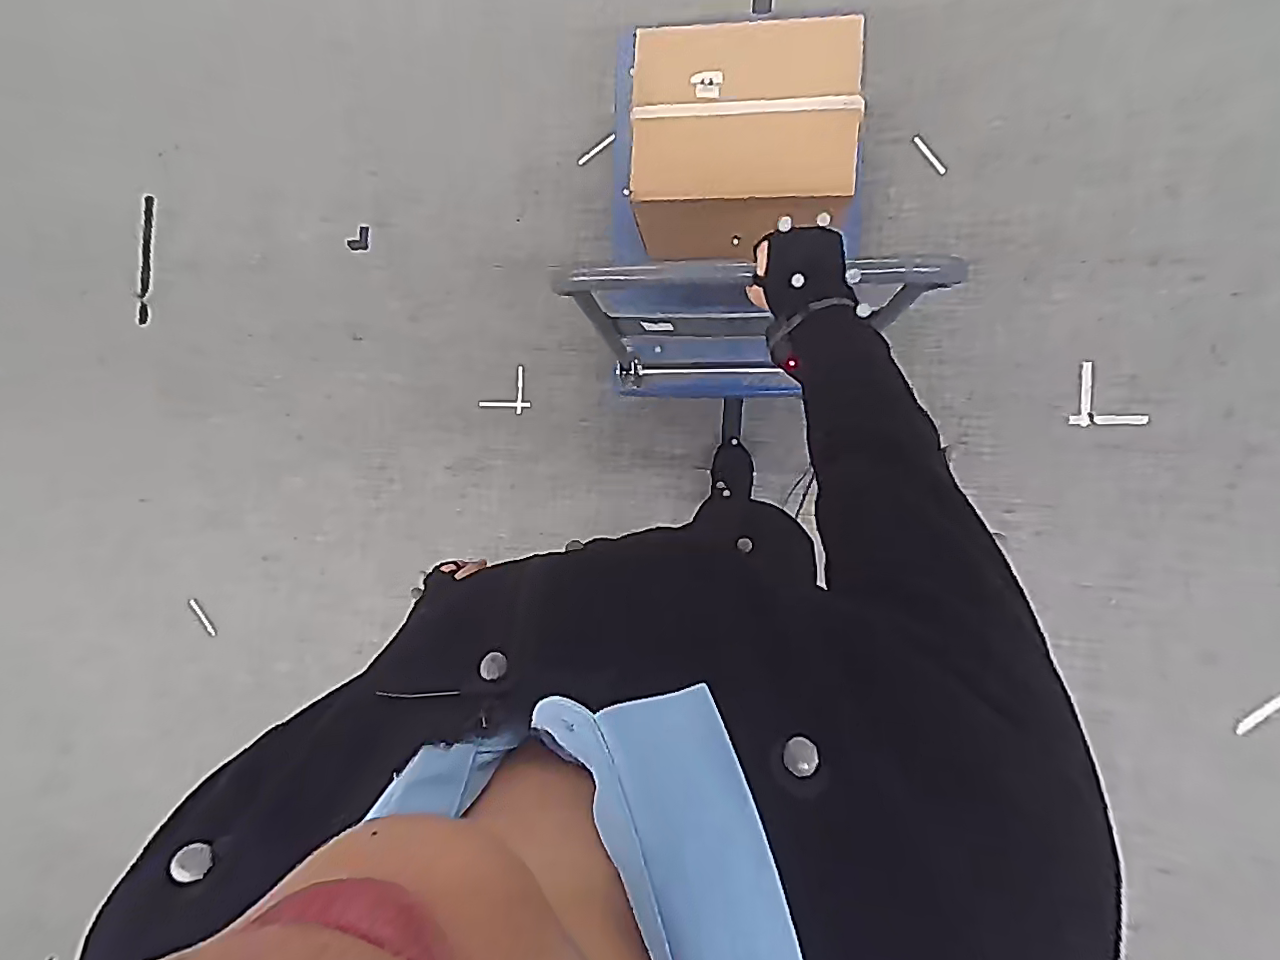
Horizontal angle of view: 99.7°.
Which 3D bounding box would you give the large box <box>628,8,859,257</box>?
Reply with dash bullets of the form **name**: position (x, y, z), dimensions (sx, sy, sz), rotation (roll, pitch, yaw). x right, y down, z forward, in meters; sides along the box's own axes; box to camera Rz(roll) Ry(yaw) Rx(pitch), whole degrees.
- **large box**: position (0.202, -0.668, 1.107), dimensions (0.408, 0.320, 0.320), rotation (3, 91, 9)
